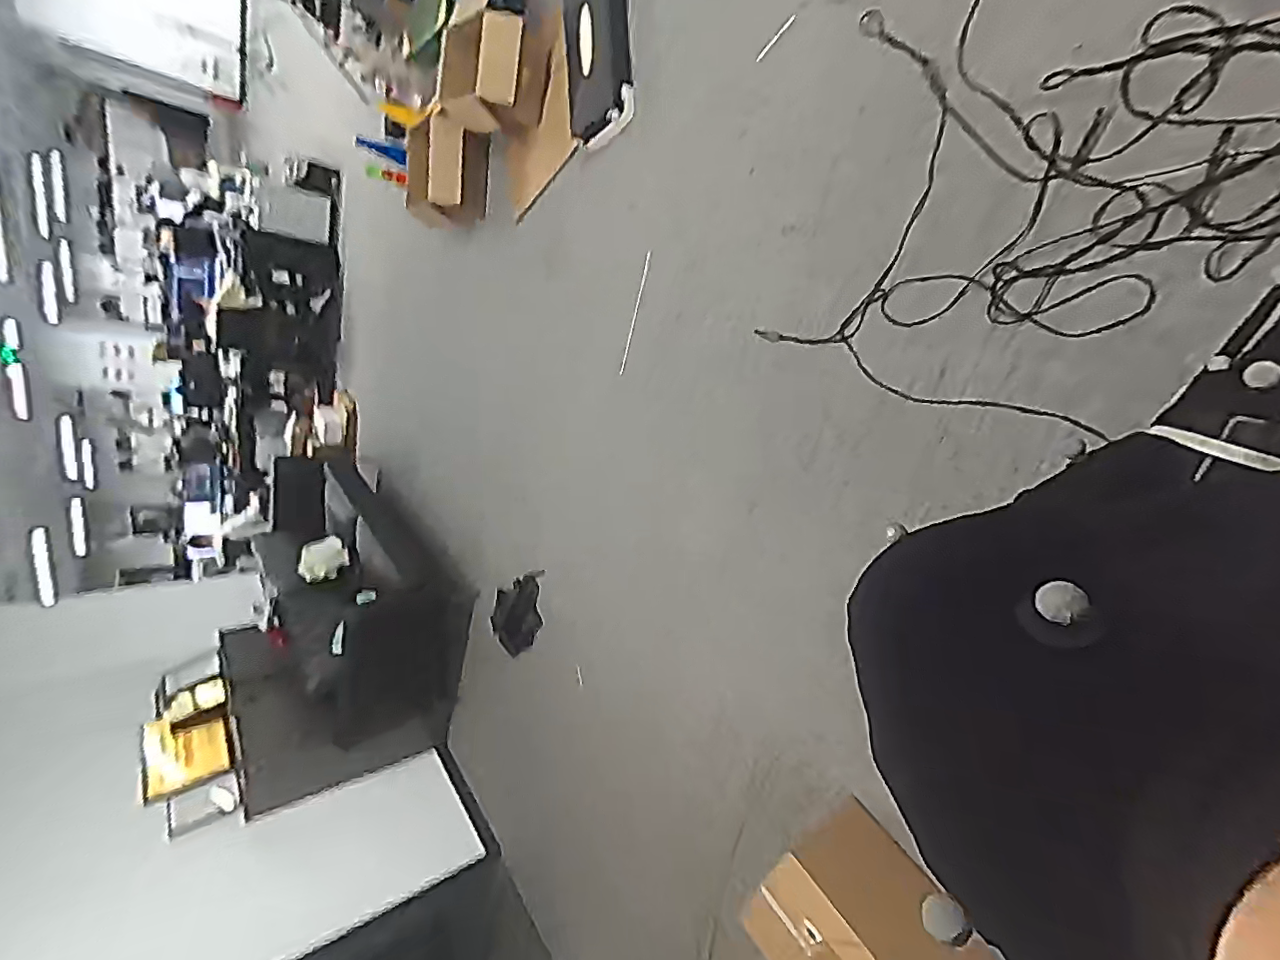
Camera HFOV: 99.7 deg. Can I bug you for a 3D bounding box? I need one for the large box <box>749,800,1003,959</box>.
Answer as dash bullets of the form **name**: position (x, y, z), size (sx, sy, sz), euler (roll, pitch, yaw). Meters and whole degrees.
- **large box**: position (0.555, 1.099, 1.310), size (0.408, 0.320, 0.320), euler (43, 122, 40)
